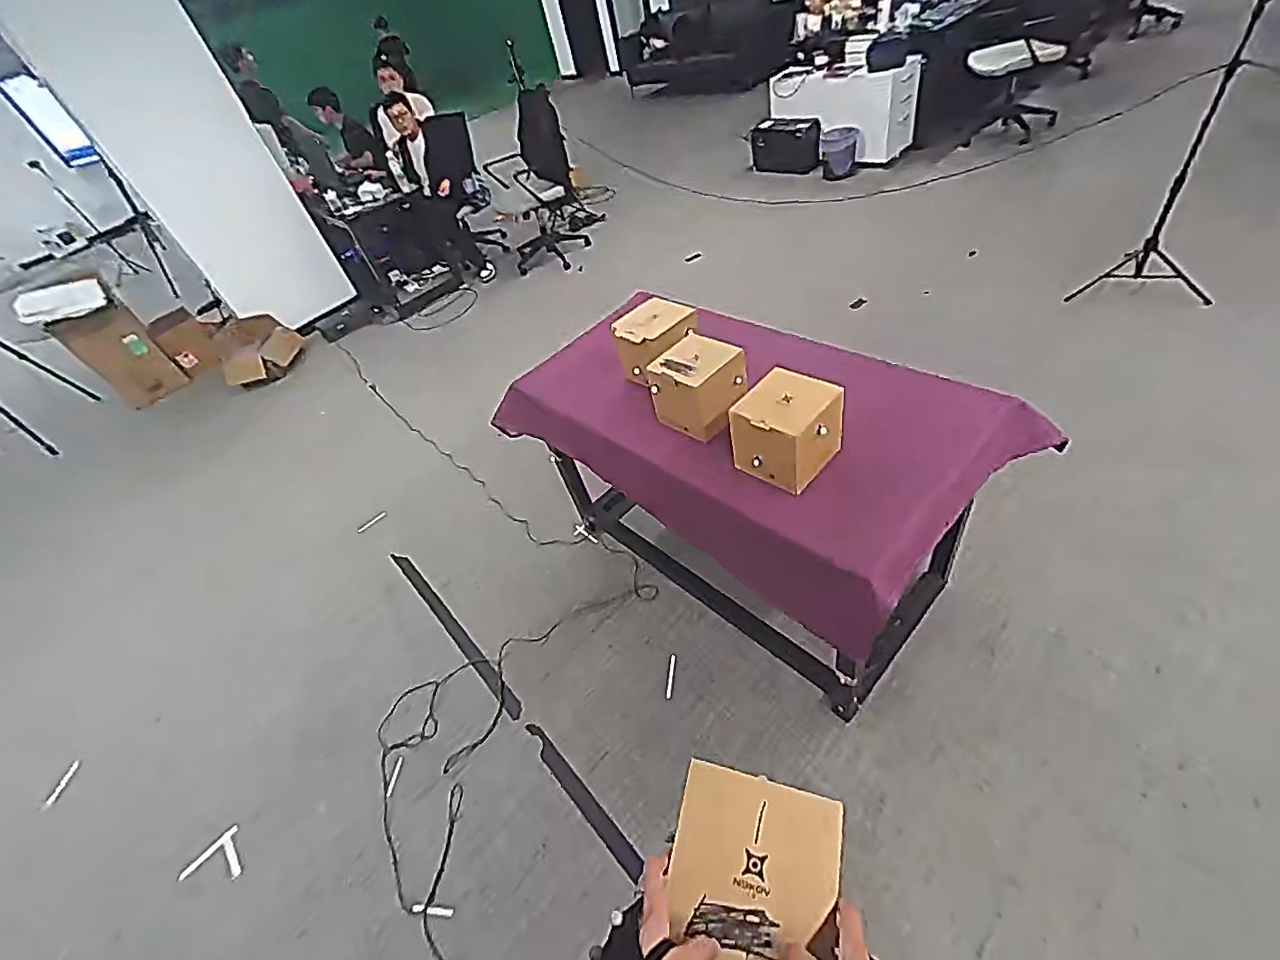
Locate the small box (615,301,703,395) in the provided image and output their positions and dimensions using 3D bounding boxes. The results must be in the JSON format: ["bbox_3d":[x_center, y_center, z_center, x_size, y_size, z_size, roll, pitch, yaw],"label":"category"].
[{"bbox_3d":[0.061,-0.368,1.512,0.179,0.176,0.168,-41,48,-22],"label":"small box"}]

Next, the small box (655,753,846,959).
[{"bbox_3d":[0.122,0.434,0.605,0.168,0.176,0.179,11,56,13],"label":"small box"}]

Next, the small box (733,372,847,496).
[{"bbox_3d":[0.321,-0.100,1.166,0.168,0.176,0.179,29,60,37],"label":"small box"}]
